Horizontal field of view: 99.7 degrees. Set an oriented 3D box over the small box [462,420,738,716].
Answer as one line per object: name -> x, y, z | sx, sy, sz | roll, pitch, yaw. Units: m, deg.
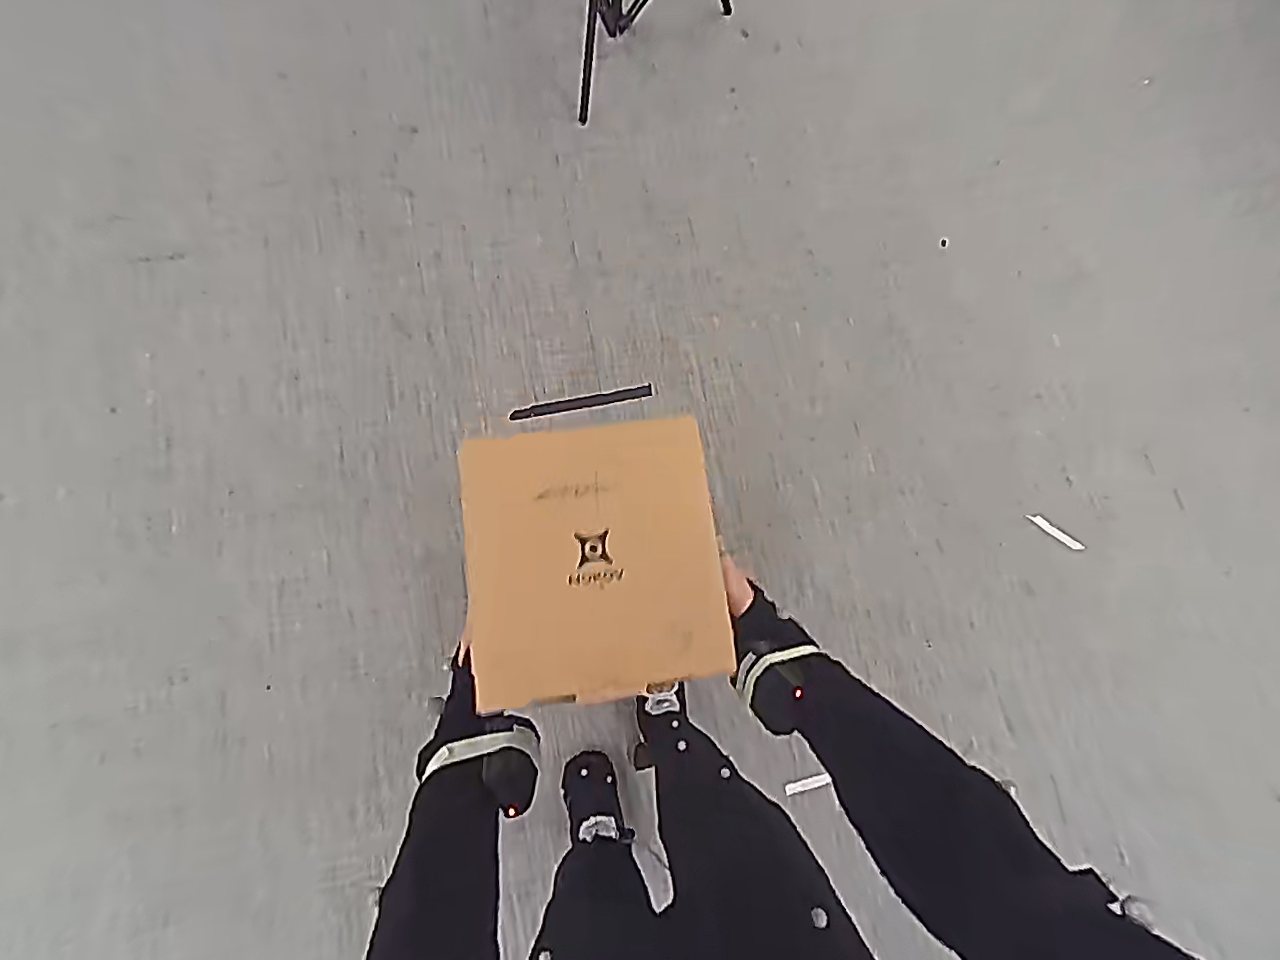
small box -> -0.033, 0.067, 0.431 | 0.168, 0.176, 0.179 | -8, 78, -6
